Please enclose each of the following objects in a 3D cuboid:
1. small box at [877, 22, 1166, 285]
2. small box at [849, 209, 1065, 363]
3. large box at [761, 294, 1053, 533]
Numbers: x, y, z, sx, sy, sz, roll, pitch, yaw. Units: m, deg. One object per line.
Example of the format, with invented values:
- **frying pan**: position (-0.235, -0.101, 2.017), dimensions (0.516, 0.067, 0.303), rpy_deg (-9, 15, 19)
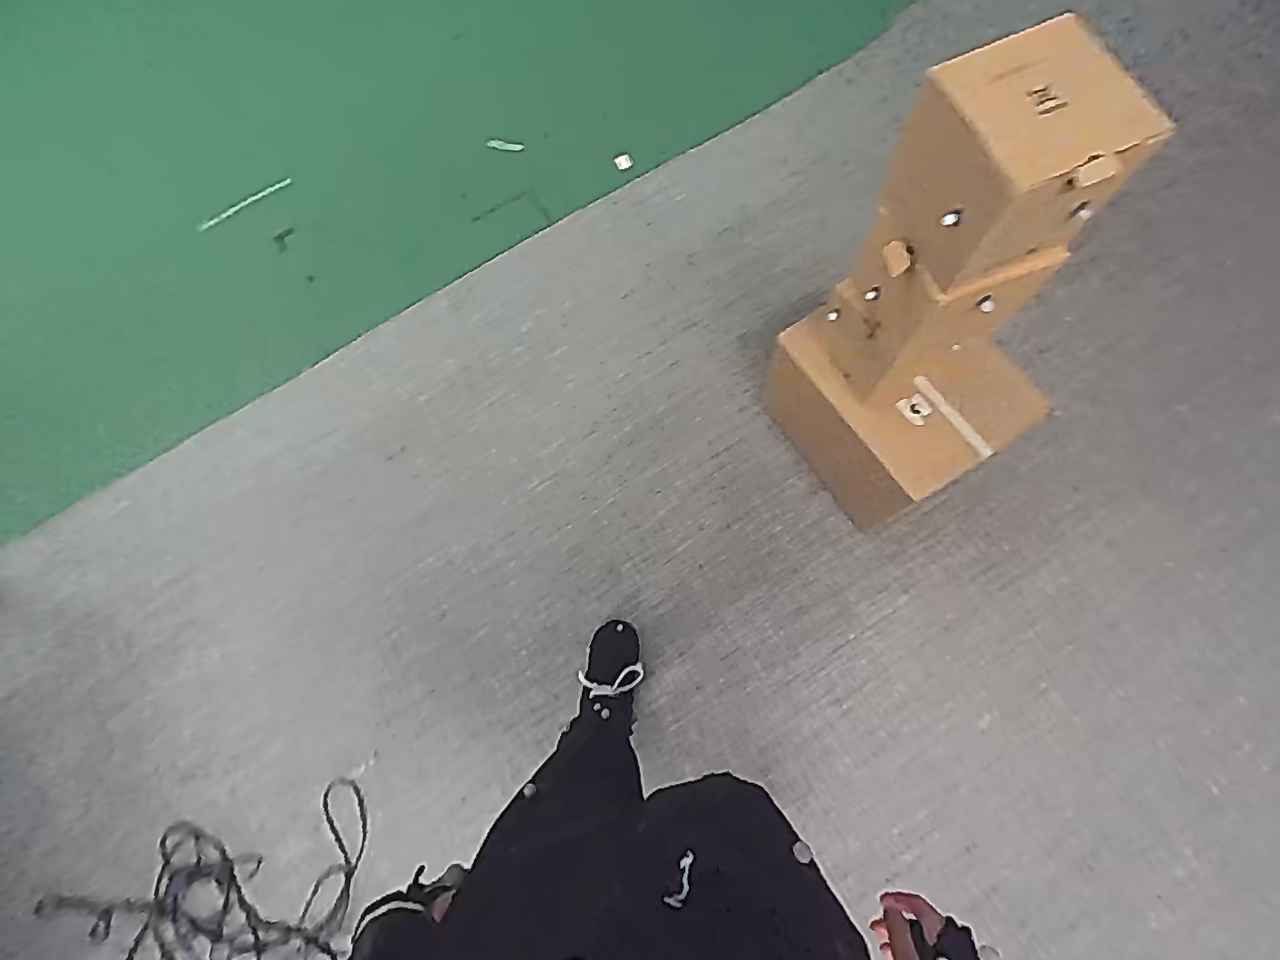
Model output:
- **small box**: position (0.406, -0.350, 0.614), dimensions (0.168, 0.176, 0.179), rpy_deg (-22, 73, -2)
- **small box**: position (0.429, -0.294, 0.766), dimensions (0.179, 0.176, 0.168), rpy_deg (-20, 74, 0)
- **large box**: position (0.512, -0.154, 1.141), dimensions (0.320, 0.320, 0.408), rpy_deg (-34, 75, -3)
